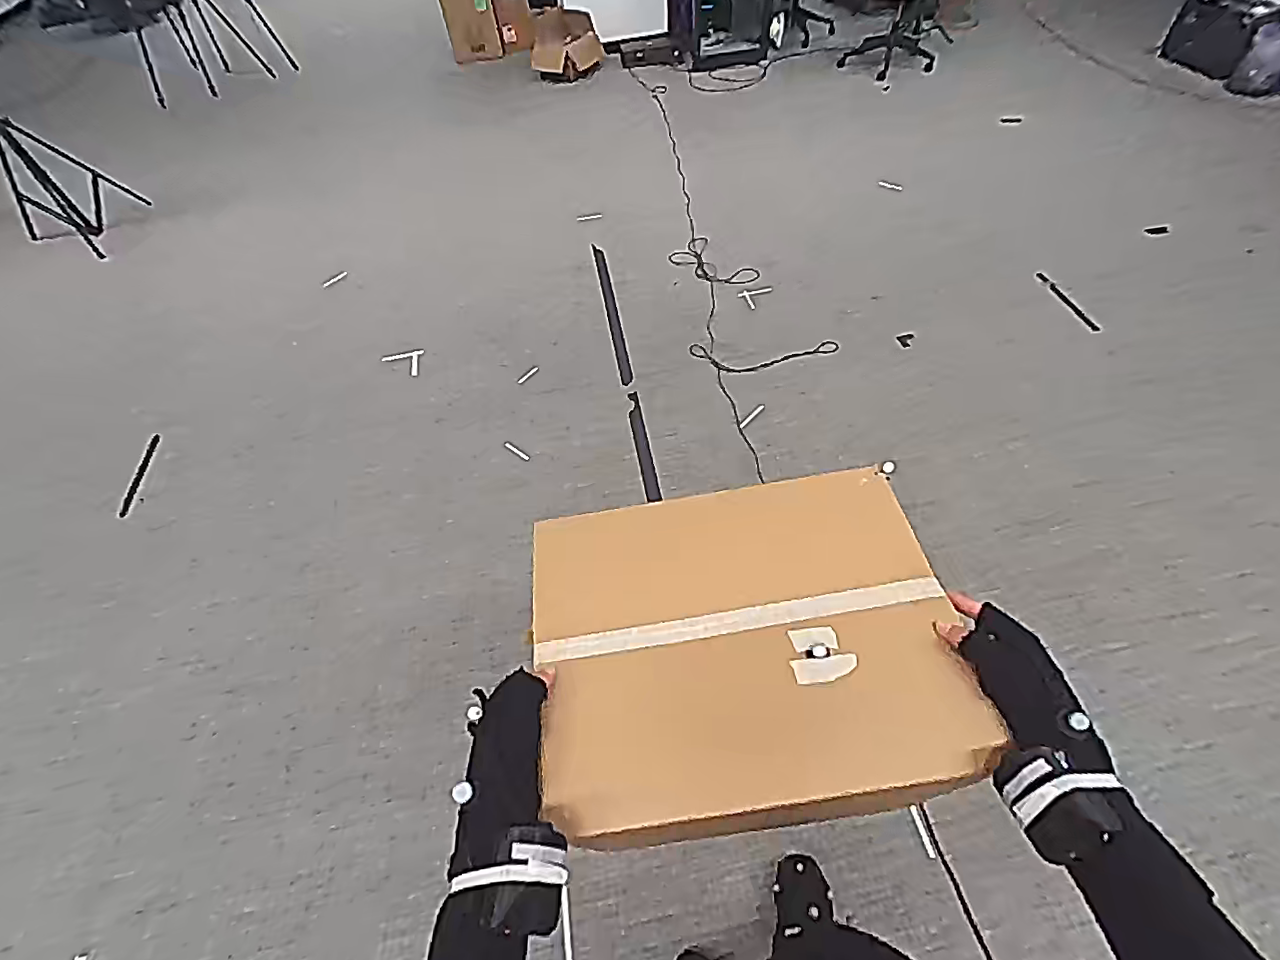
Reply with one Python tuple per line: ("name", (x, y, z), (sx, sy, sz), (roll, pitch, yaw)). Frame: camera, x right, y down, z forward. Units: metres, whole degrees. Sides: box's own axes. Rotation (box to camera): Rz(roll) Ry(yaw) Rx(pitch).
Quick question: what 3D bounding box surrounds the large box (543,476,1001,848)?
("large box", (0.113, 0.236, 0.673), (0.408, 0.320, 0.320), (-9, 54, 0))
